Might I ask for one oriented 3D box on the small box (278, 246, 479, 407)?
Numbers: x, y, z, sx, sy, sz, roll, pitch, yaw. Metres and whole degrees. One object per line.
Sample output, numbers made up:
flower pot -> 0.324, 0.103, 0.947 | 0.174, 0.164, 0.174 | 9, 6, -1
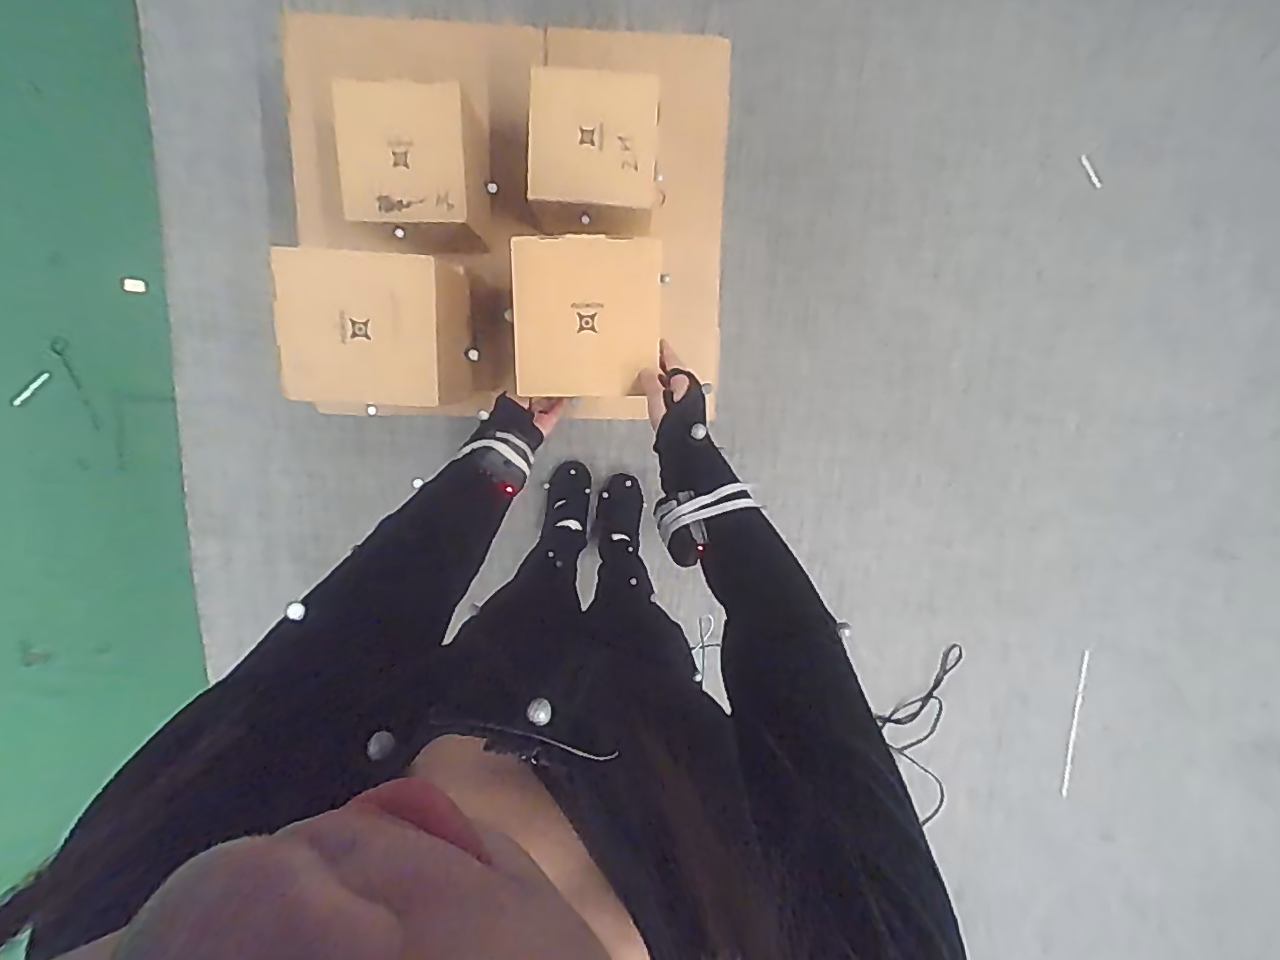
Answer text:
small box -> -0.312, -0.182, 0.678 | 0.179, 0.176, 0.168 | 3, 101, -3

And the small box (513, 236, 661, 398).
small box -> -0.058, -0.194, 0.684 | 0.168, 0.176, 0.179 | 0, 99, 0

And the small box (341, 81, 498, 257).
small box -> -0.312, -0.445, 0.797 | 0.168, 0.176, 0.179 | 0, 98, -1
